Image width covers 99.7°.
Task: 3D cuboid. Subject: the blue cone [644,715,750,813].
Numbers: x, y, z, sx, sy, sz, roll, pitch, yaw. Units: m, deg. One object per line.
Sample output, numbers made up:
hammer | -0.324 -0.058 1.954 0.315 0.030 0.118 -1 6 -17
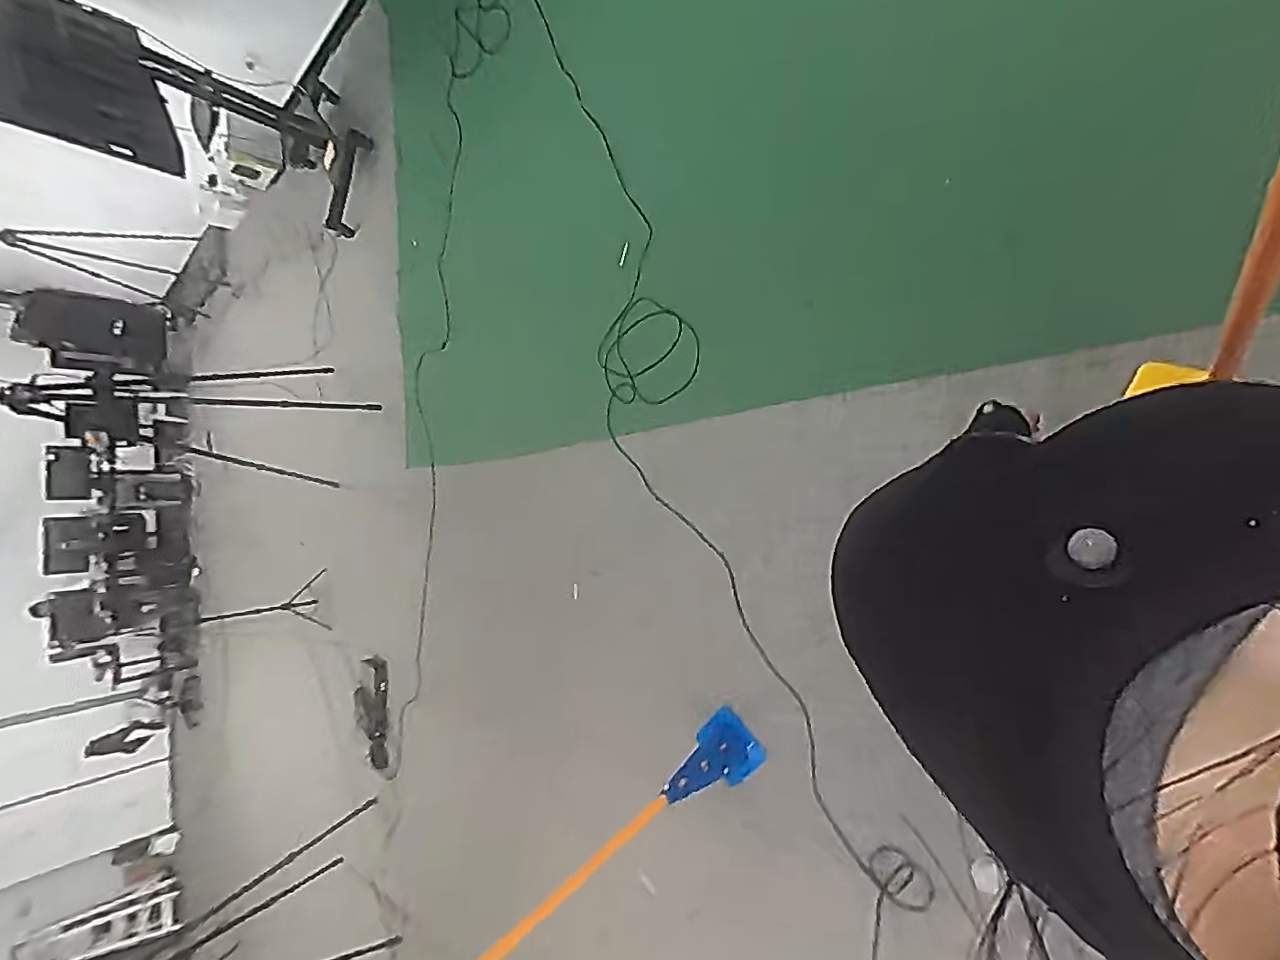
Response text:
blue cone | 0.147 0.890 1.614 0.192 0.380 0.193 46 119 28
